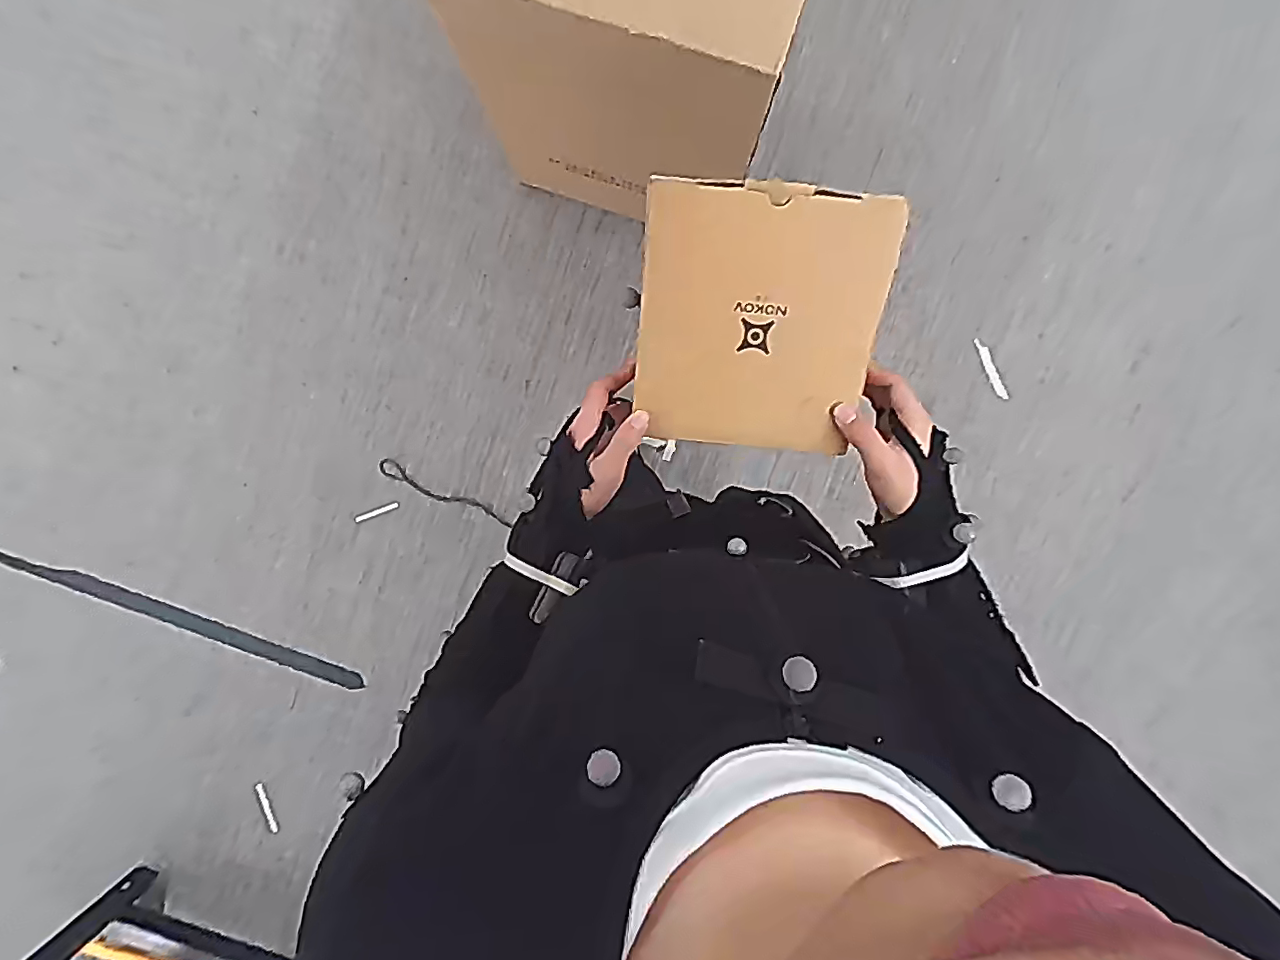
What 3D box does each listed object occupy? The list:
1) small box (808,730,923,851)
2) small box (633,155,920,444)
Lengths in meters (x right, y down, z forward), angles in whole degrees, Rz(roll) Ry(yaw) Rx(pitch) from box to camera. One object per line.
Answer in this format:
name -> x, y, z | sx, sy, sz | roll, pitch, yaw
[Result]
small box -> 0.536, 0.739, 1.310 | 0.179, 0.176, 0.168 | 21, 91, 0
small box -> 0.088, -0.146, 0.437 | 0.168, 0.176, 0.179 | 5, 115, 1
